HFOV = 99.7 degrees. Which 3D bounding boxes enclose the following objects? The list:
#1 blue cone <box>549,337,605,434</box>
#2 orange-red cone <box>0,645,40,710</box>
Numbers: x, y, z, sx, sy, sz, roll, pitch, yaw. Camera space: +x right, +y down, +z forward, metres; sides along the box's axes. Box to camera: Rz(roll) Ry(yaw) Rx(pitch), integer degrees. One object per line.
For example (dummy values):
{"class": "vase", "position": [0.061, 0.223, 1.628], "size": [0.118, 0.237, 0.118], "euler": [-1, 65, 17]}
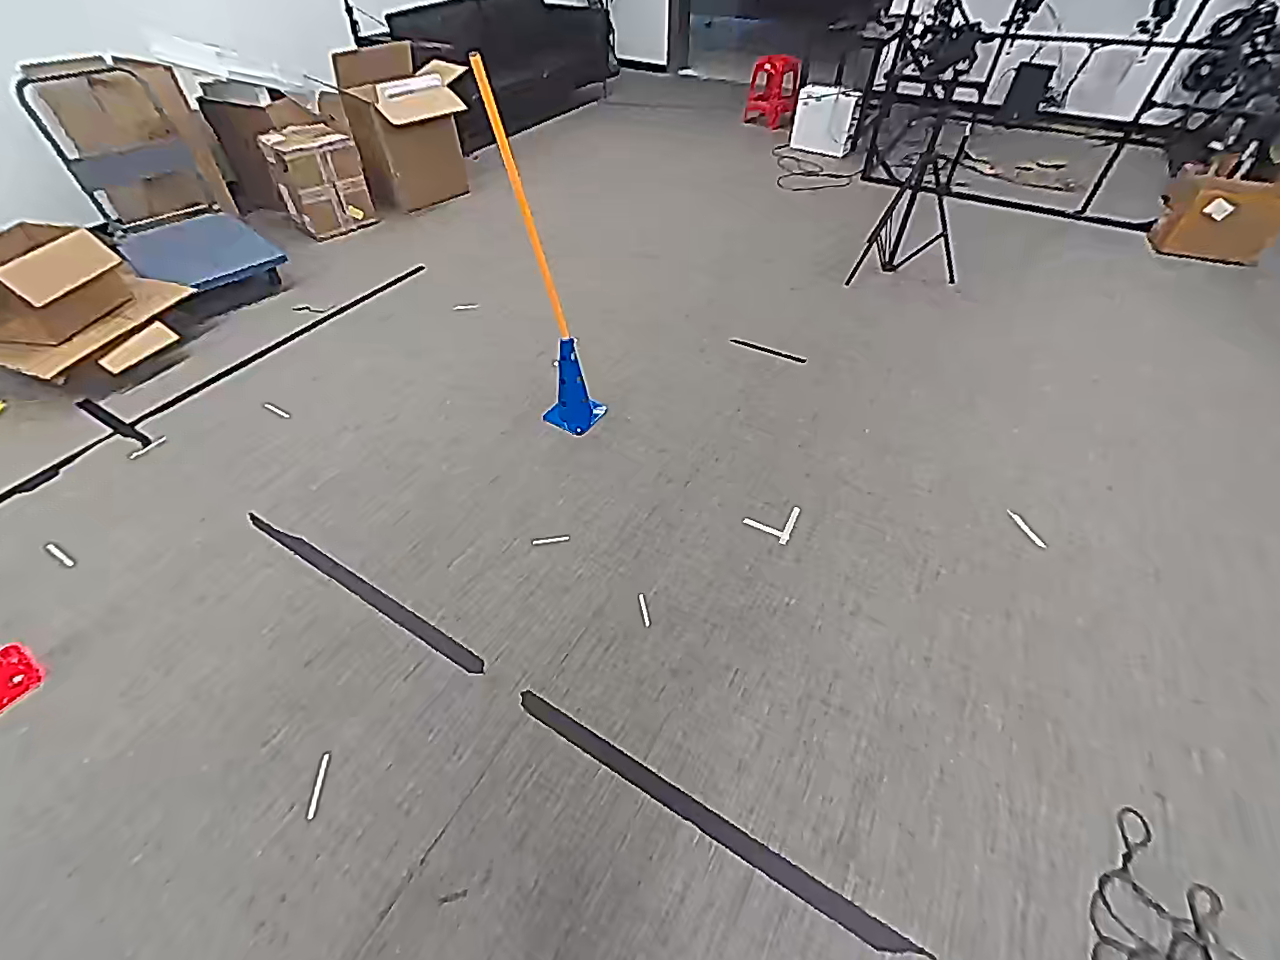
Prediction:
{"class": "blue cone", "position": [-0.257, -0.378, 2.074], "size": [0.192, 0.380, 0.193], "euler": [27, 53, 22]}
{"class": "orange-red cone", "position": [-1.719, 0.436, 1.292], "size": [0.199, 0.360, 0.198], "euler": [26, 52, 23]}
